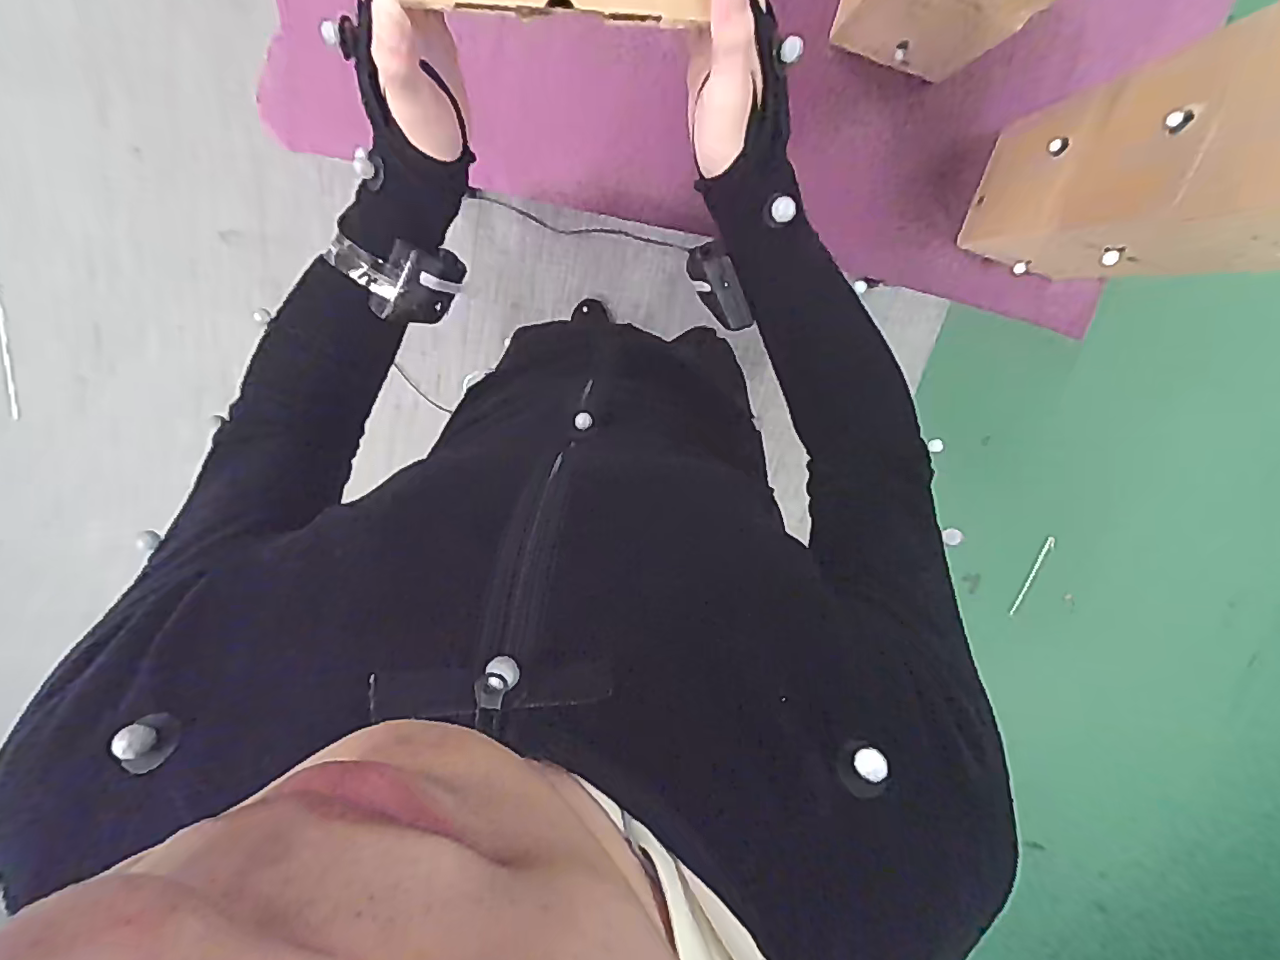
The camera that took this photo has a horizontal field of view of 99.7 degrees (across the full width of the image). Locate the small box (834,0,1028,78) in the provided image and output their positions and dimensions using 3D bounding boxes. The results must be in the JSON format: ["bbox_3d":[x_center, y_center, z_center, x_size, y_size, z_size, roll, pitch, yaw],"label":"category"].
[{"bbox_3d":[0.352,-0.618,0.626,0.168,0.176,0.179,14,108,-8],"label":"small box"}]

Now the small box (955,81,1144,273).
[{"bbox_3d":[0.574,-0.384,0.722,0.179,0.176,0.168,14,107,-8],"label":"small box"}]

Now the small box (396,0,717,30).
[{"bbox_3d":[-0.043,-0.351,0.263,0.168,0.176,0.179,-3,137,-7],"label":"small box"}]
